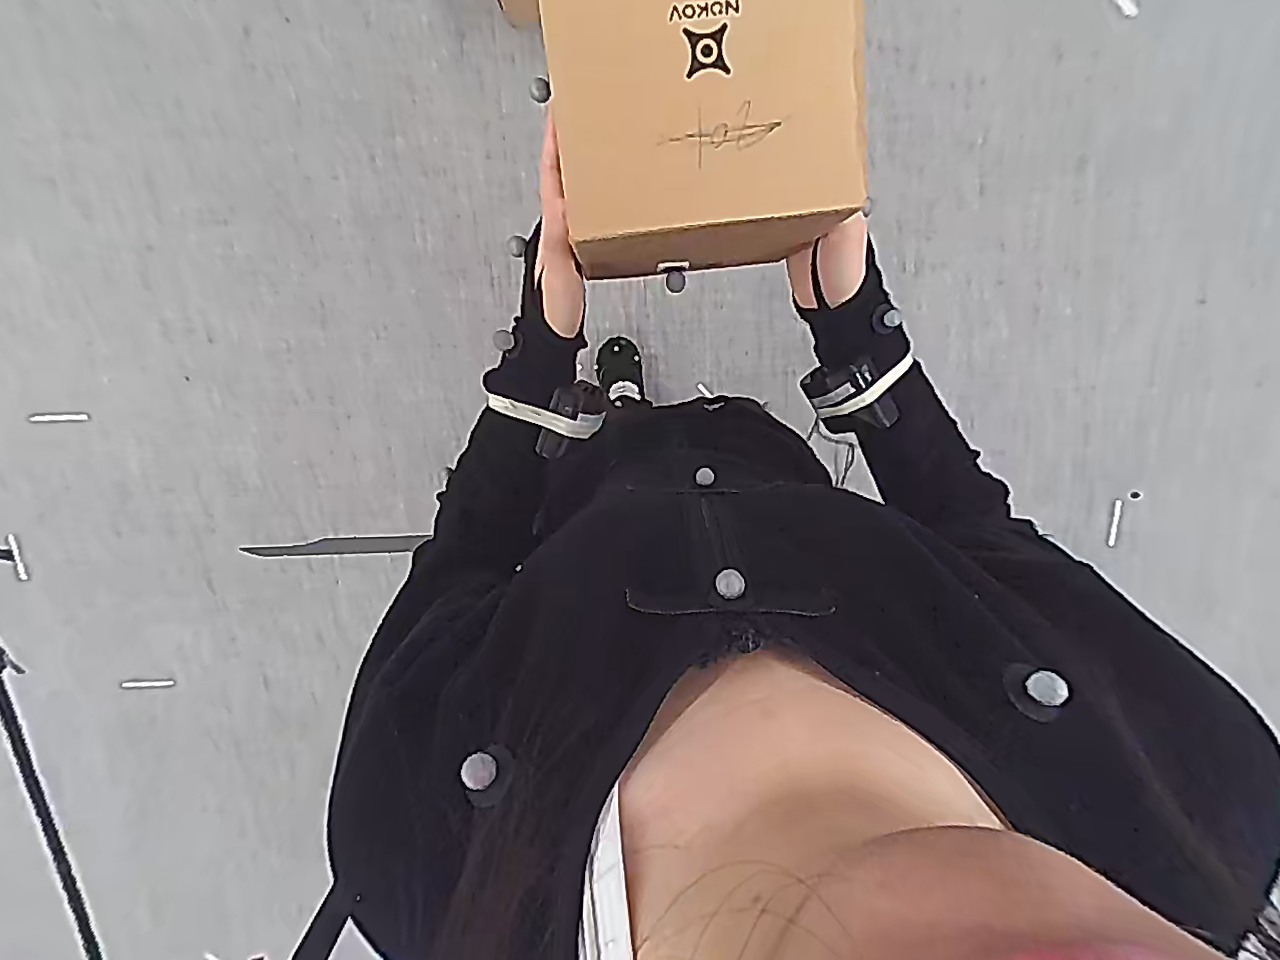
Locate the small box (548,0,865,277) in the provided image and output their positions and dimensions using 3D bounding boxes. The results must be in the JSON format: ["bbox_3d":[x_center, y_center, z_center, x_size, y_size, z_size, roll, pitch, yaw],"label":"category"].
[{"bbox_3d":[0.031,-0.245,0.357,0.168,0.176,0.179,-6,103,-1],"label":"small box"}]
